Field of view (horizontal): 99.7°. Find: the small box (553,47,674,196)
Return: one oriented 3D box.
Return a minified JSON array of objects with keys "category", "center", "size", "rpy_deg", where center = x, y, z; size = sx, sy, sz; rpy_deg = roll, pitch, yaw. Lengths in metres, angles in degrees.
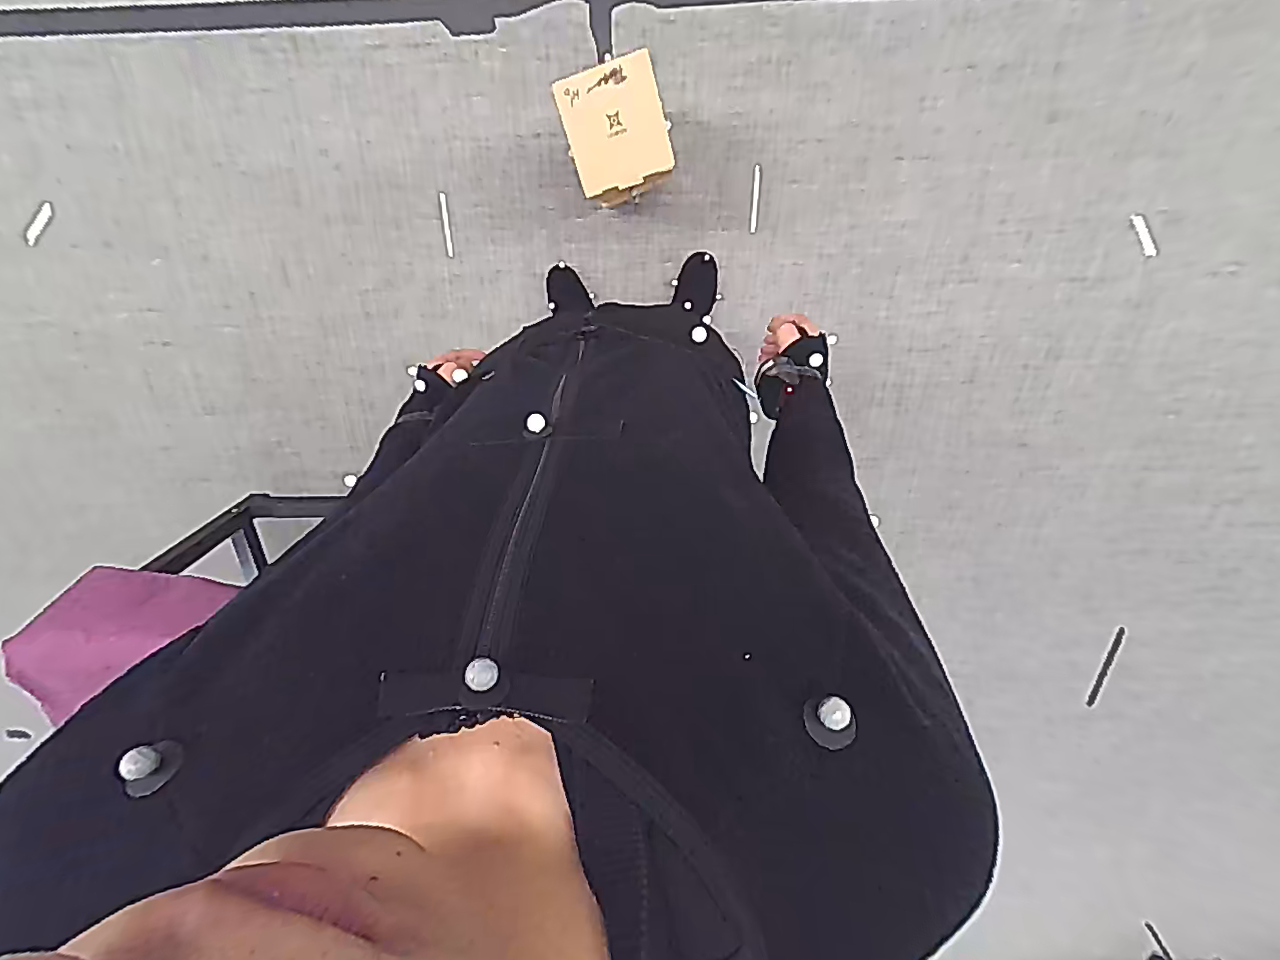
[{"category":"small box","center":[-0.039,-0.629,0.972],"size":[0.168,0.176,0.179],"rpy_deg":[-15,115,8]}]
